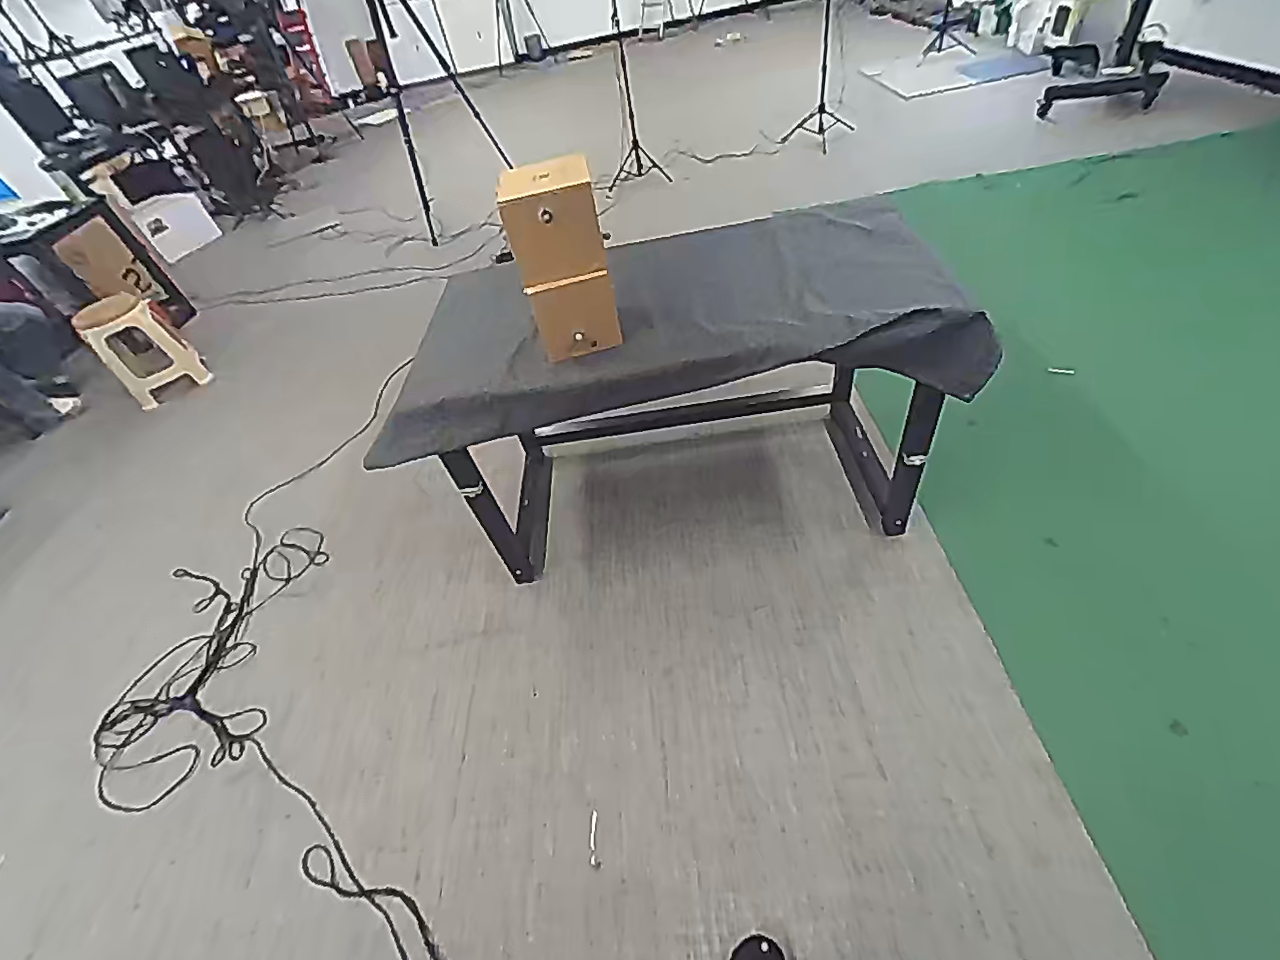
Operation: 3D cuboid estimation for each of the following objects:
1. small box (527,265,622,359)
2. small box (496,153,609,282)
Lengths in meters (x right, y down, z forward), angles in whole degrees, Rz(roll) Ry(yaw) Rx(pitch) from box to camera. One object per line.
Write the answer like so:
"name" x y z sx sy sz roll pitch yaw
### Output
"small box" -0.144 -0.389 1.168 0.168 0.176 0.179 -15 47 -2
"small box" -0.167 -0.510 1.061 0.179 0.176 0.168 -12 47 0
